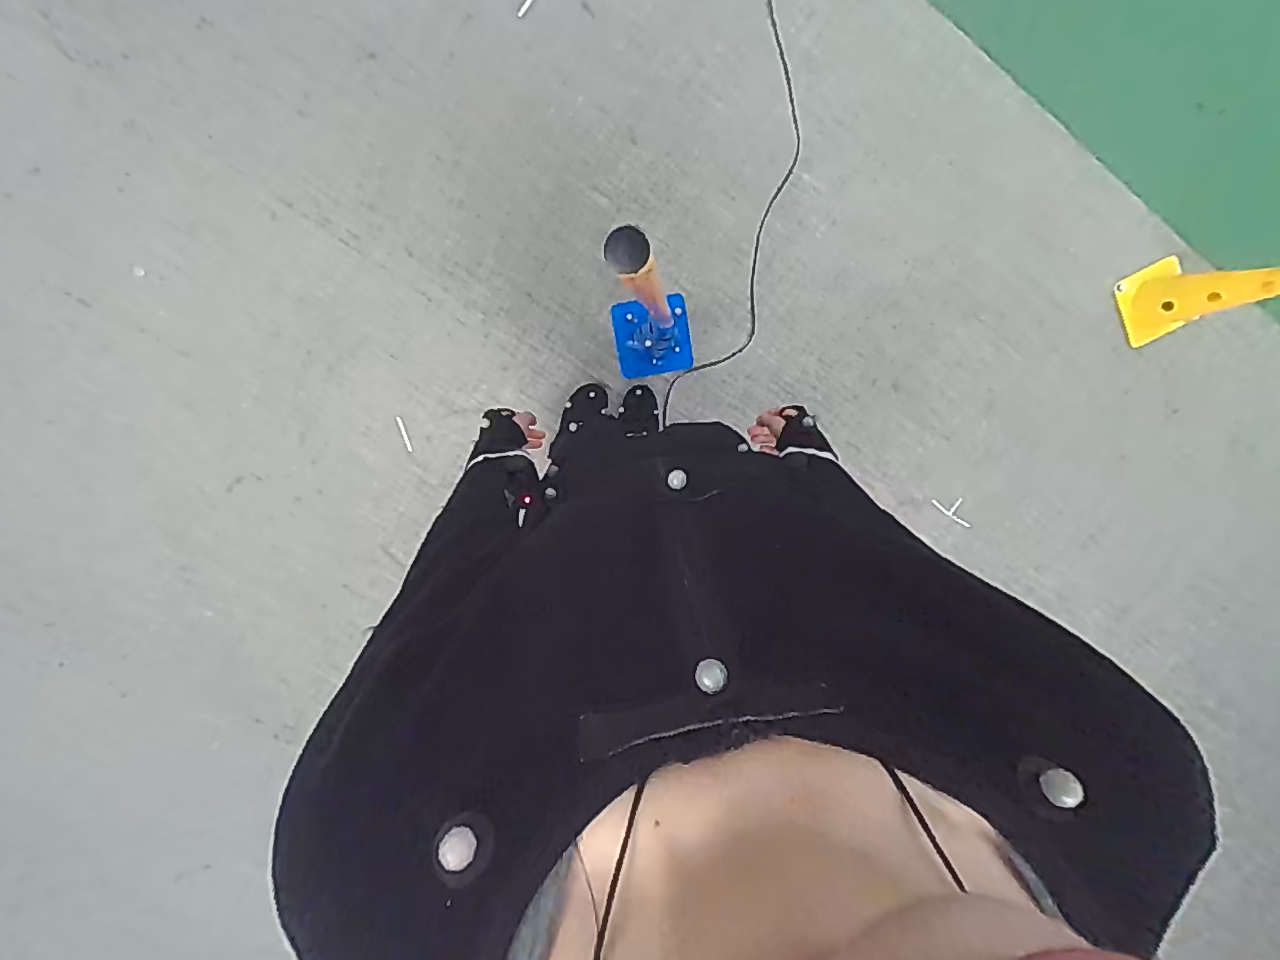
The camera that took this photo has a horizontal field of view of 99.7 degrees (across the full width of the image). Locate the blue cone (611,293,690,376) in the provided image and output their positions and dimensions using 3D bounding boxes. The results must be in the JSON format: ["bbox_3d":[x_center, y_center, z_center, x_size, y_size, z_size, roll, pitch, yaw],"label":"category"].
[{"bbox_3d":[0.039,-0.349,1.256,0.193,0.380,0.192,-12,101,-1],"label":"blue cone"}]
